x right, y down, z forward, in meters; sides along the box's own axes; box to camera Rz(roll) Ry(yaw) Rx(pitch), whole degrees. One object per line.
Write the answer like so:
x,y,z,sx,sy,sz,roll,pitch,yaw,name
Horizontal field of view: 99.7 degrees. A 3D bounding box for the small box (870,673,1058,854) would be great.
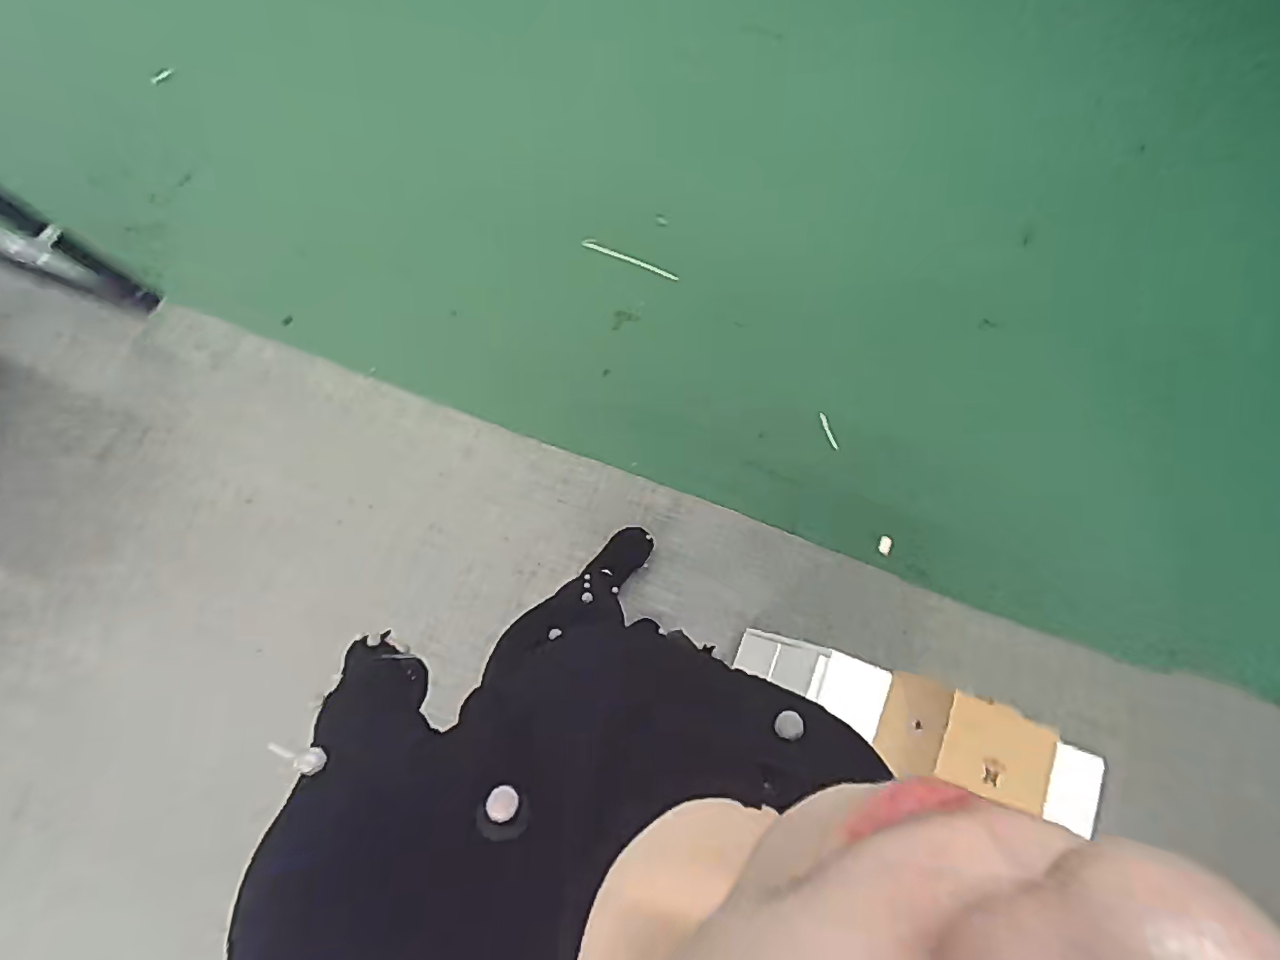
0.486,0.418,0.834,0.168,0.176,0.179,23,78,1,small box
